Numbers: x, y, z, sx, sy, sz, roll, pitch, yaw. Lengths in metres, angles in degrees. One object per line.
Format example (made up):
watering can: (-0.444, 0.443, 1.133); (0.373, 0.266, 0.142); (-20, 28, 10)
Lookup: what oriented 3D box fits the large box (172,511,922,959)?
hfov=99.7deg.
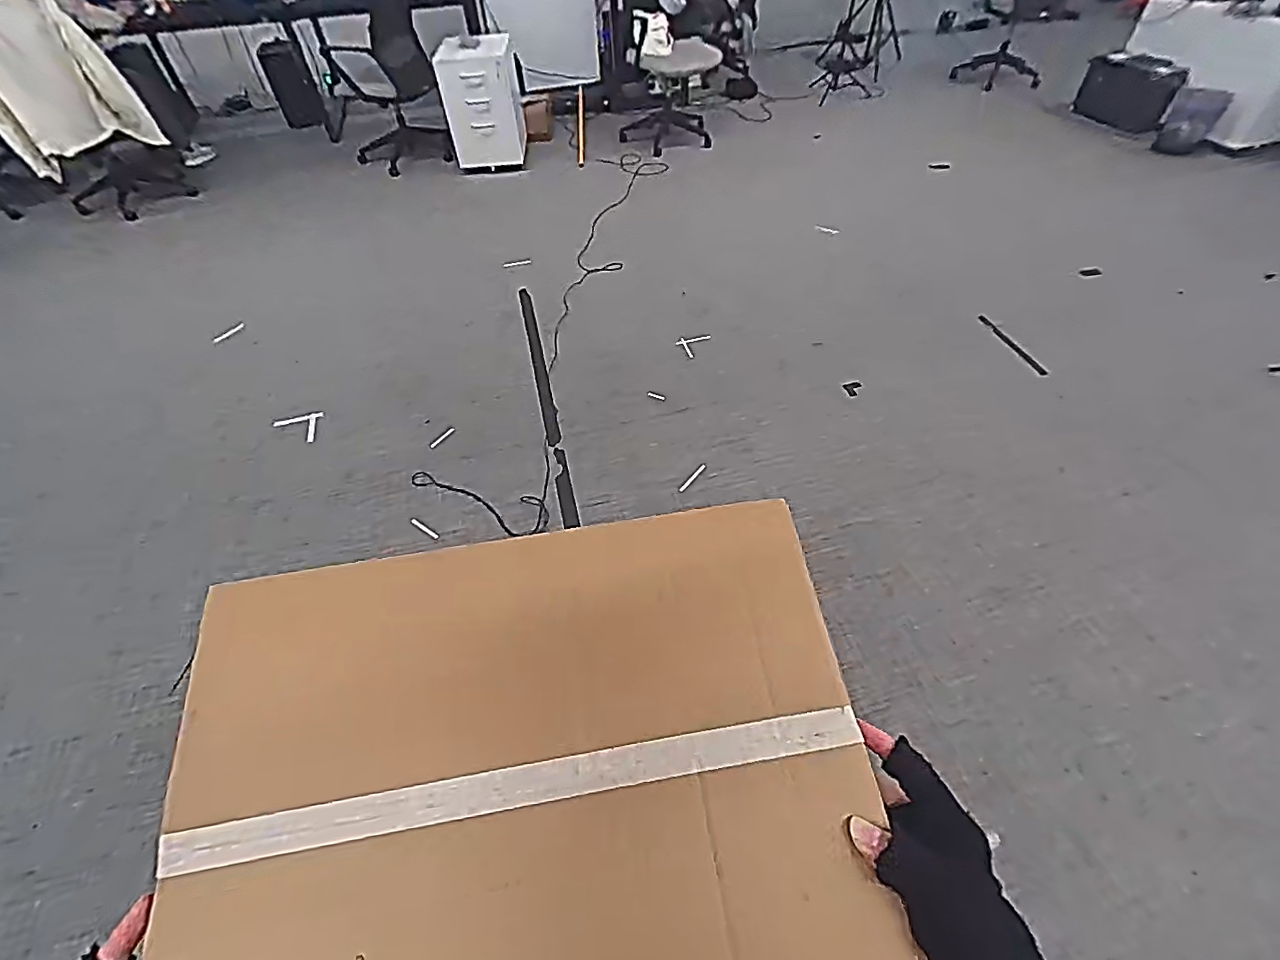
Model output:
large box: (-0.064, 0.256, 0.459); (0.408, 0.320, 0.320); (-9, 64, -4)
